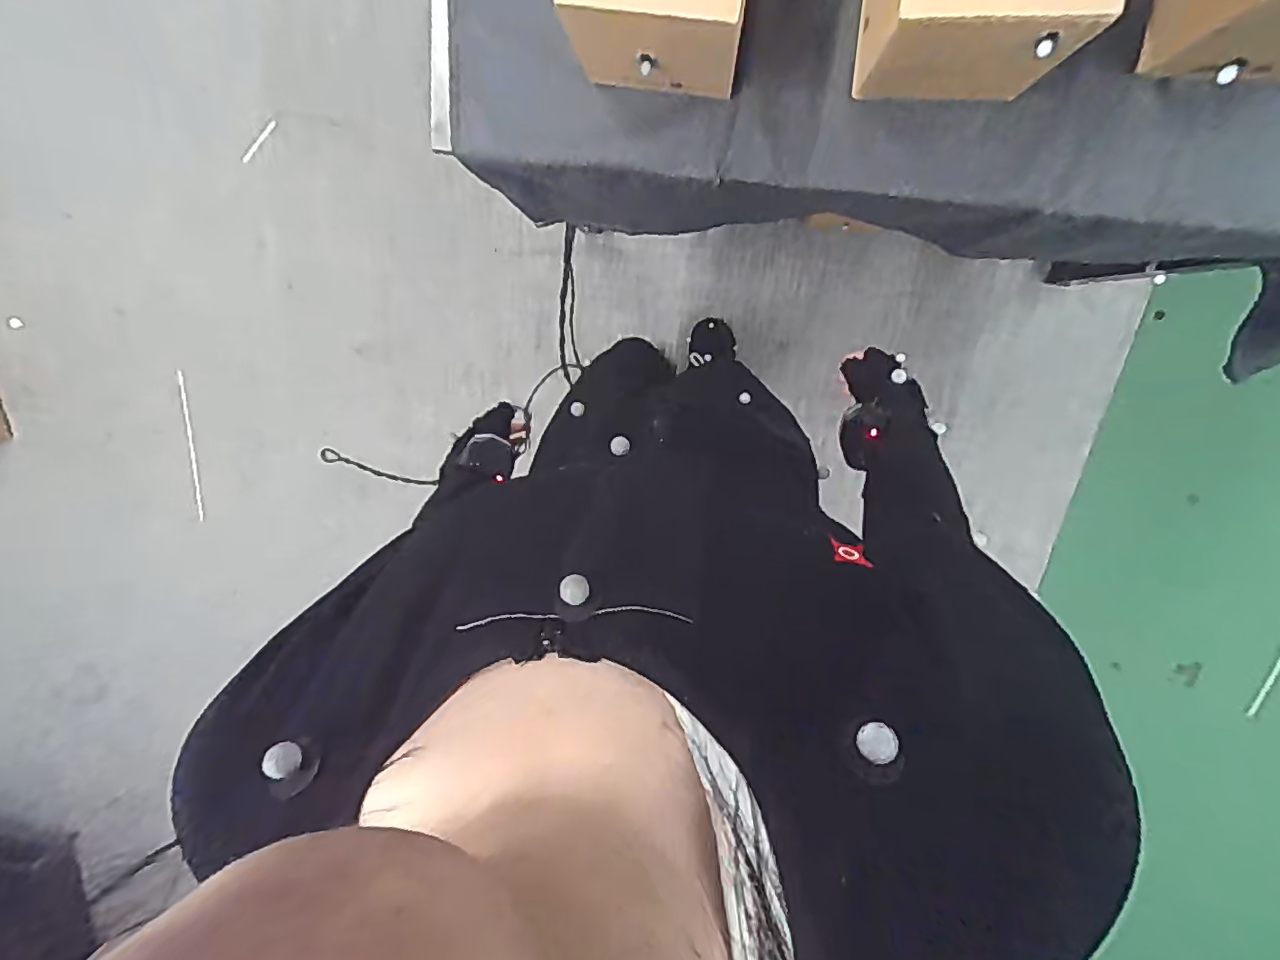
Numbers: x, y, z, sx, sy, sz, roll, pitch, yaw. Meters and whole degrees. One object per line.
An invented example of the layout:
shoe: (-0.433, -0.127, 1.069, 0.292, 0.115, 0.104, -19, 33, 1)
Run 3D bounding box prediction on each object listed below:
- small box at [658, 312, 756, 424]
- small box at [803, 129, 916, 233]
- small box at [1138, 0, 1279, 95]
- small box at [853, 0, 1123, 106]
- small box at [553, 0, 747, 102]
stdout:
small box: (0.164, -0.273, 1.344, 0.179, 0.176, 0.168, -39, 70, -6)
small box: (0.470, -0.647, 1.187, 0.179, 0.176, 0.168, 7, 107, 6)
small box: (0.591, -0.467, 0.463, 0.168, 0.176, 0.179, 6, 107, 6)
small box: (0.311, -0.469, 0.499, 0.179, 0.176, 0.168, 4, 107, 6)
small box: (0.024, -0.498, 0.522, 0.168, 0.176, 0.179, 10, 107, 3)
